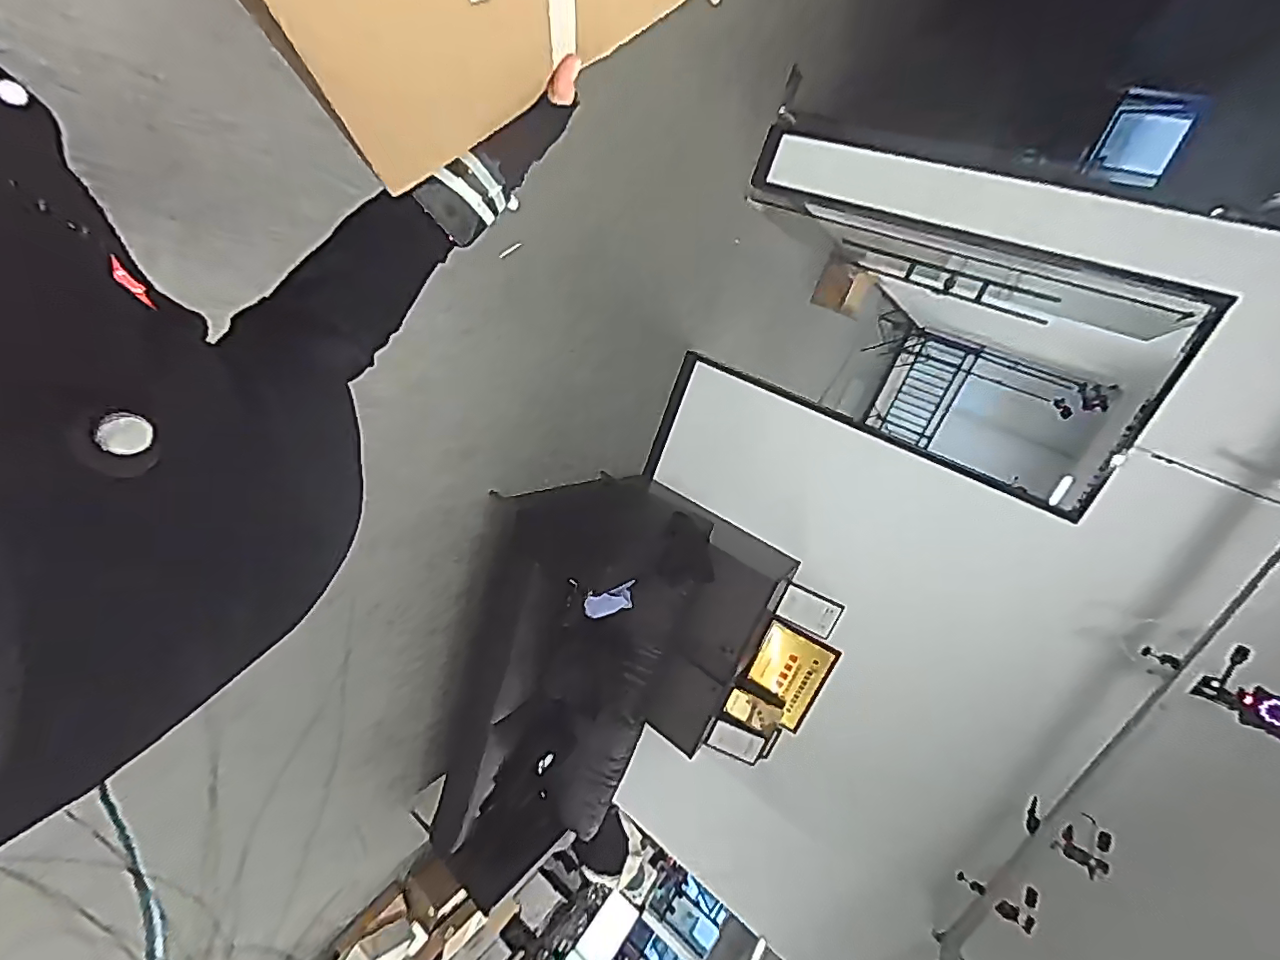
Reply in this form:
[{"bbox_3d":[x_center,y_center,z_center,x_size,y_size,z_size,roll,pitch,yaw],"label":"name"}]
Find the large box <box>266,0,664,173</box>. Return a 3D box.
[{"bbox_3d":[-0.130,-0.435,0.206,0.320,0.320,0.408,-37,-177,-5],"label":"large box"}]
